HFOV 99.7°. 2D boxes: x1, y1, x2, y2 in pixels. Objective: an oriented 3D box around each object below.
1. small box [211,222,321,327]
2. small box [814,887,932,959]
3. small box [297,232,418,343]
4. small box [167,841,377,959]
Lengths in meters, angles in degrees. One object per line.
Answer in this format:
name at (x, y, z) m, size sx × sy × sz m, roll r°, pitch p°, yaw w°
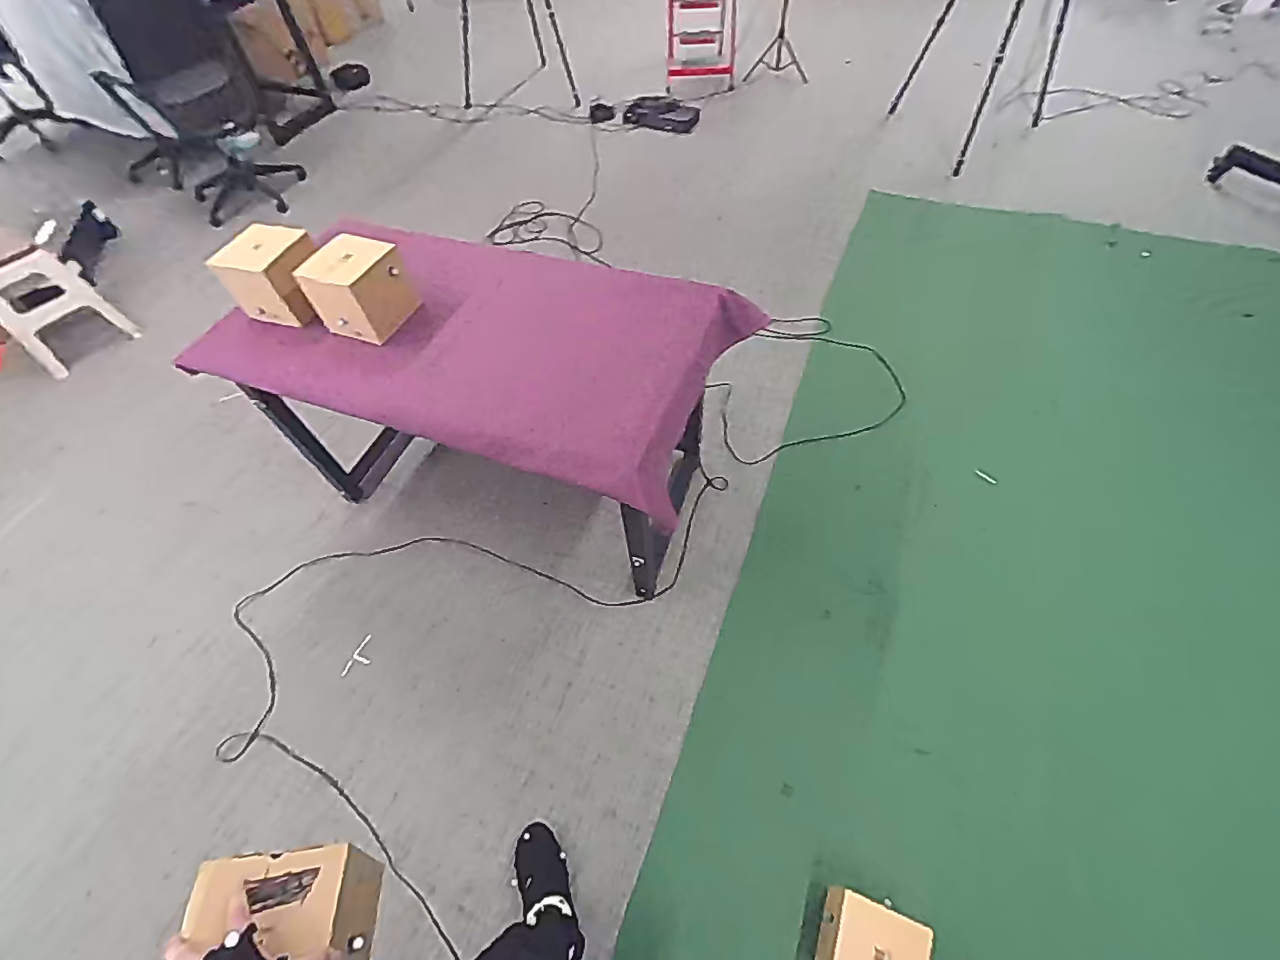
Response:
small box at (-0.909, -0.520, 1.369) m, size 0.168 × 0.176 × 0.179 m, roll 12°, pitch 58°, yaw 13°
small box at (0.476, 0.981, 1.123) m, size 0.179 × 0.176 × 0.168 m, roll 18°, pitch 58°, yaw 15°
small box at (-0.671, -0.467, 1.315) m, size 0.168 × 0.176 × 0.179 m, roll 17°, pitch 59°, yaw 15°
small box at (-0.440, 0.569, 0.660) m, size 0.168 × 0.176 × 0.179 m, roll -2°, pitch 48°, yaw -8°
